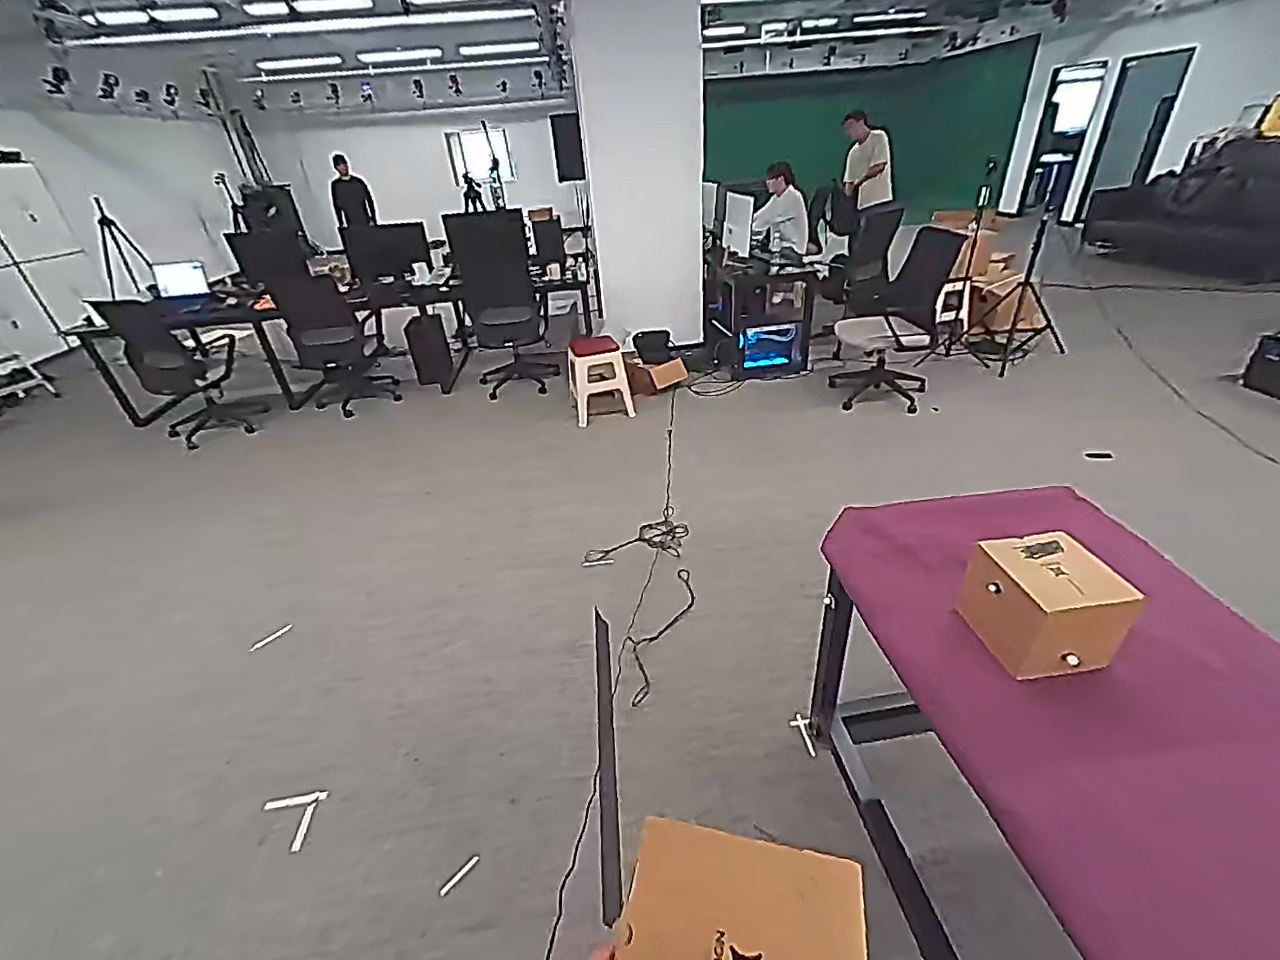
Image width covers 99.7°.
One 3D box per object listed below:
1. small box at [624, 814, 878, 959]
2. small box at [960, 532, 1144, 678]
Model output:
[{"bbox_3d":[0.084,0.401,0.428,0.179,0.176,0.168,3,39,15],"label":"small box"},{"bbox_3d":[0.701,0.217,0.949,0.168,0.176,0.179,-7,32,-3],"label":"small box"}]
